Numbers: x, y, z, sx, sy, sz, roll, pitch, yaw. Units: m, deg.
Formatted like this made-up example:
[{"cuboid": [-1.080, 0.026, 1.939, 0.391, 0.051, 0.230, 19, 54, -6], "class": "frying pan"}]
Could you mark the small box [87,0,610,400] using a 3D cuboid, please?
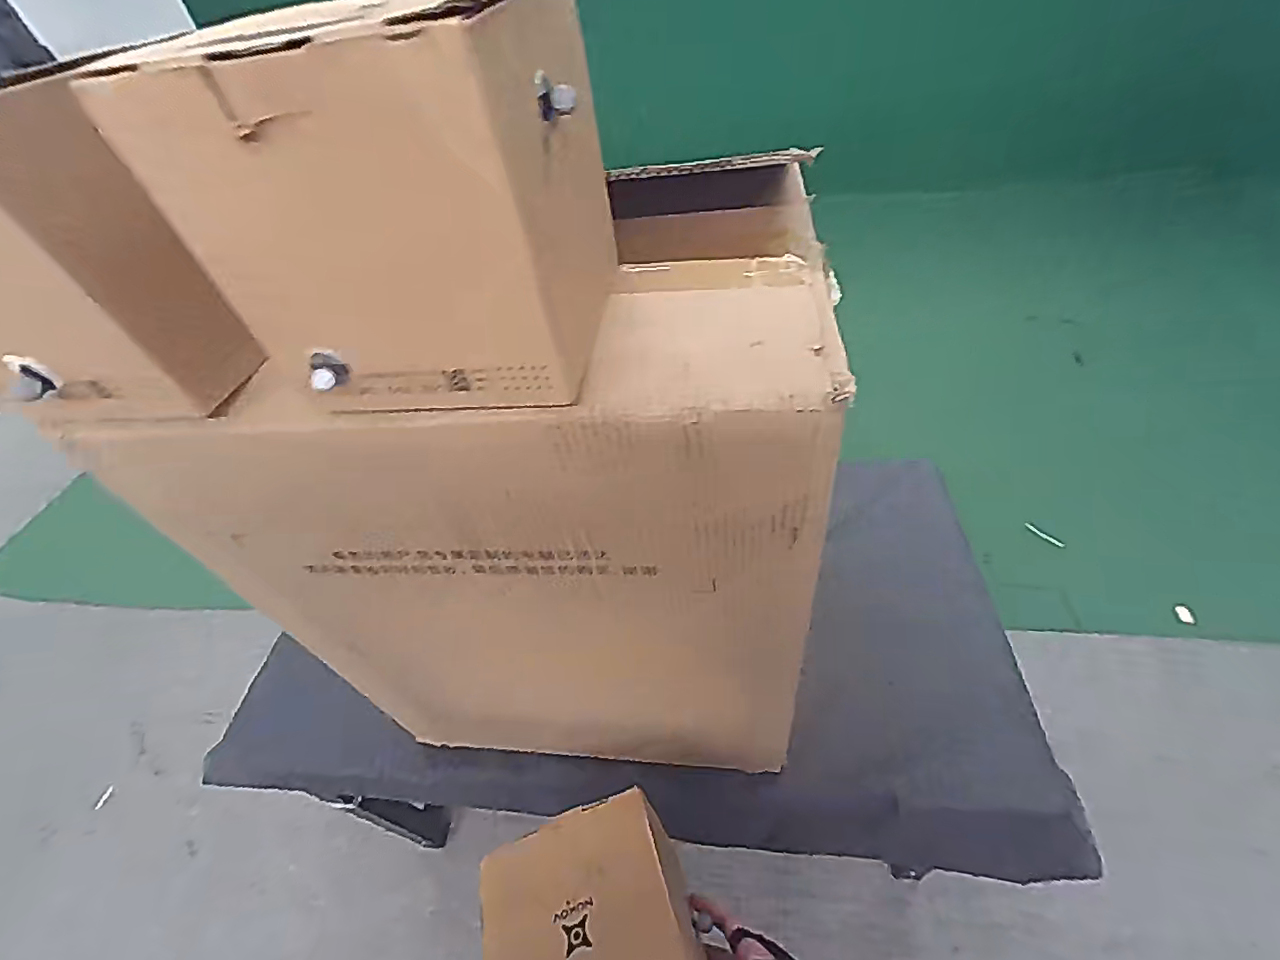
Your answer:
[{"cuboid": [-0.118, -0.158, 0.311, 0.168, 0.176, 0.179, -1, 46, 9], "class": "small box"}]

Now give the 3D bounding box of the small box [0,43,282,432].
[{"cuboid": [-0.345, -0.151, 0.353, 0.168, 0.176, 0.179, -2, 48, 13], "class": "small box"}]
